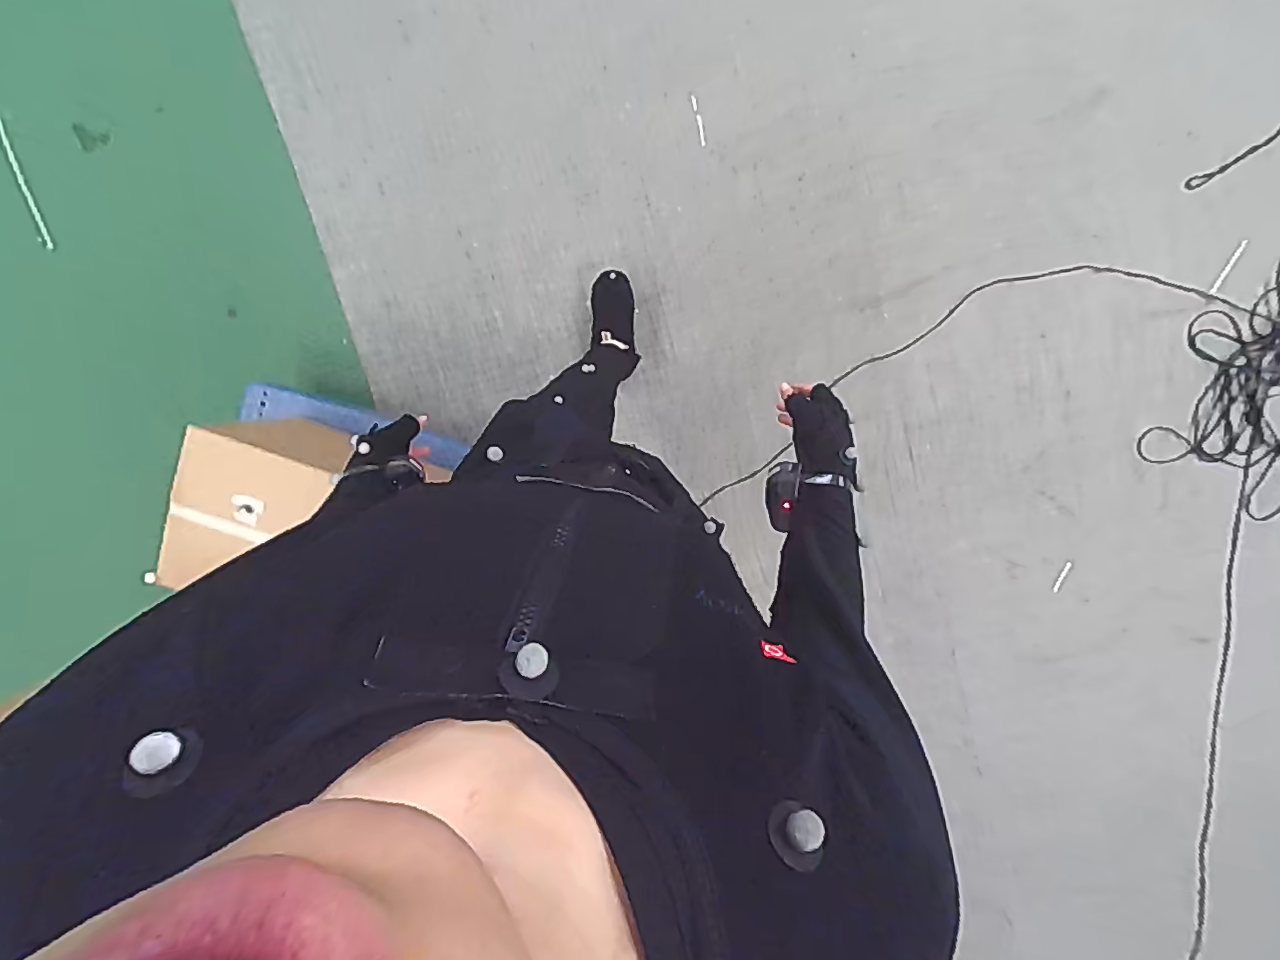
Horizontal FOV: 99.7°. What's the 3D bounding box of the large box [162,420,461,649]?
[{"bbox_3d":[-0.650,0.092,1.132,0.408,0.320,0.320,20,99,-3],"label":"large box"}]
